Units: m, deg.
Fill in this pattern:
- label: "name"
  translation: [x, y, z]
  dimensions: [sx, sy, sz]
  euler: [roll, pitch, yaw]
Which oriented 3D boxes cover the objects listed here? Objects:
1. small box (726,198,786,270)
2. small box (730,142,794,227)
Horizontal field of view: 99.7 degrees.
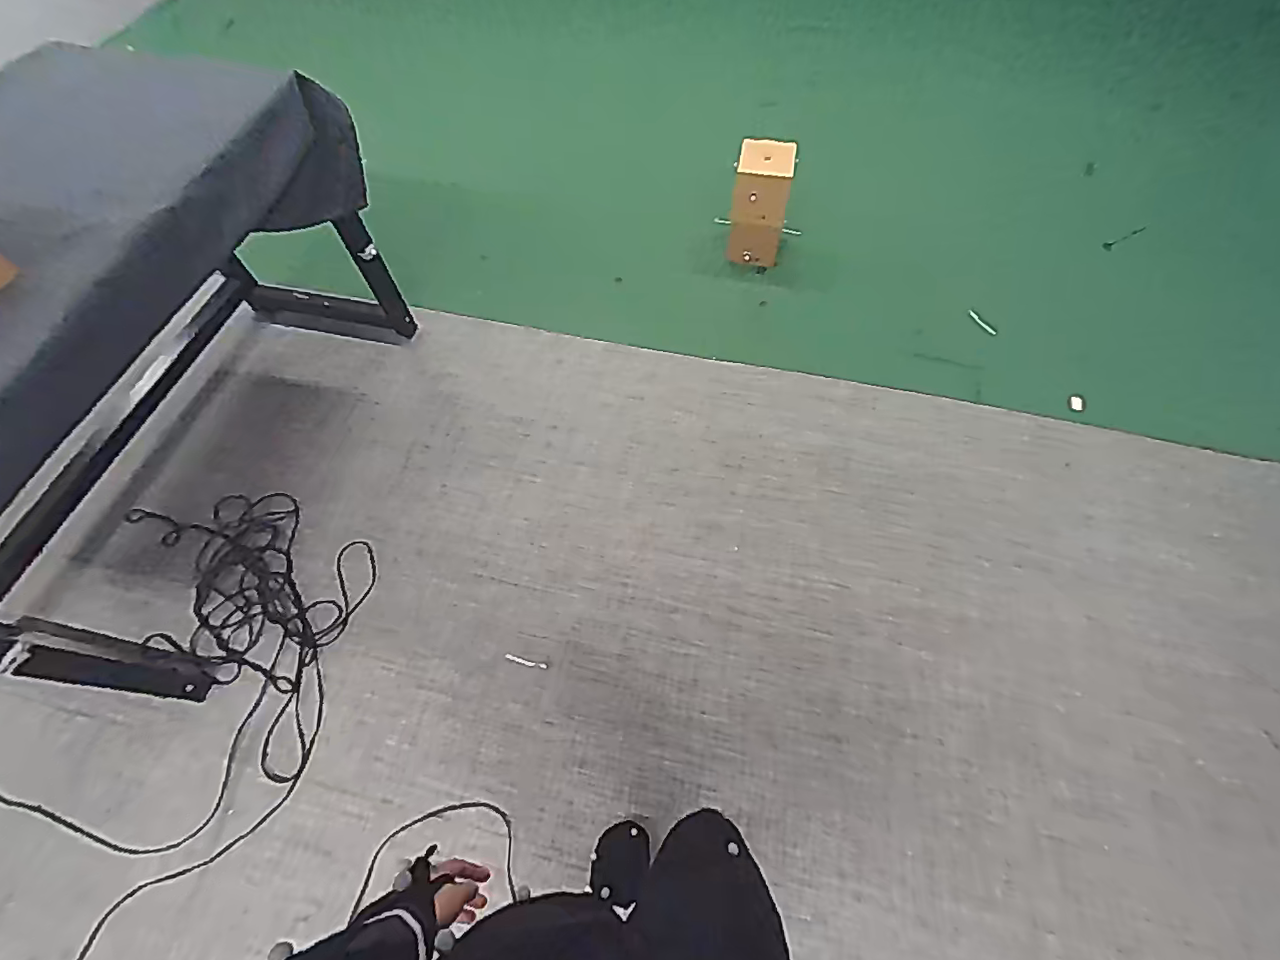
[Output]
- label: "small box"
  translation: [0.393, -0.856, 1.854]
  dimensions: [0.168, 0.176, 0.179]
  euler: [10, 63, 7]
- label: "small box"
  translation: [0.381, -0.931, 1.709]
  dimensions: [0.168, 0.176, 0.179]
  euler: [10, 62, 6]
